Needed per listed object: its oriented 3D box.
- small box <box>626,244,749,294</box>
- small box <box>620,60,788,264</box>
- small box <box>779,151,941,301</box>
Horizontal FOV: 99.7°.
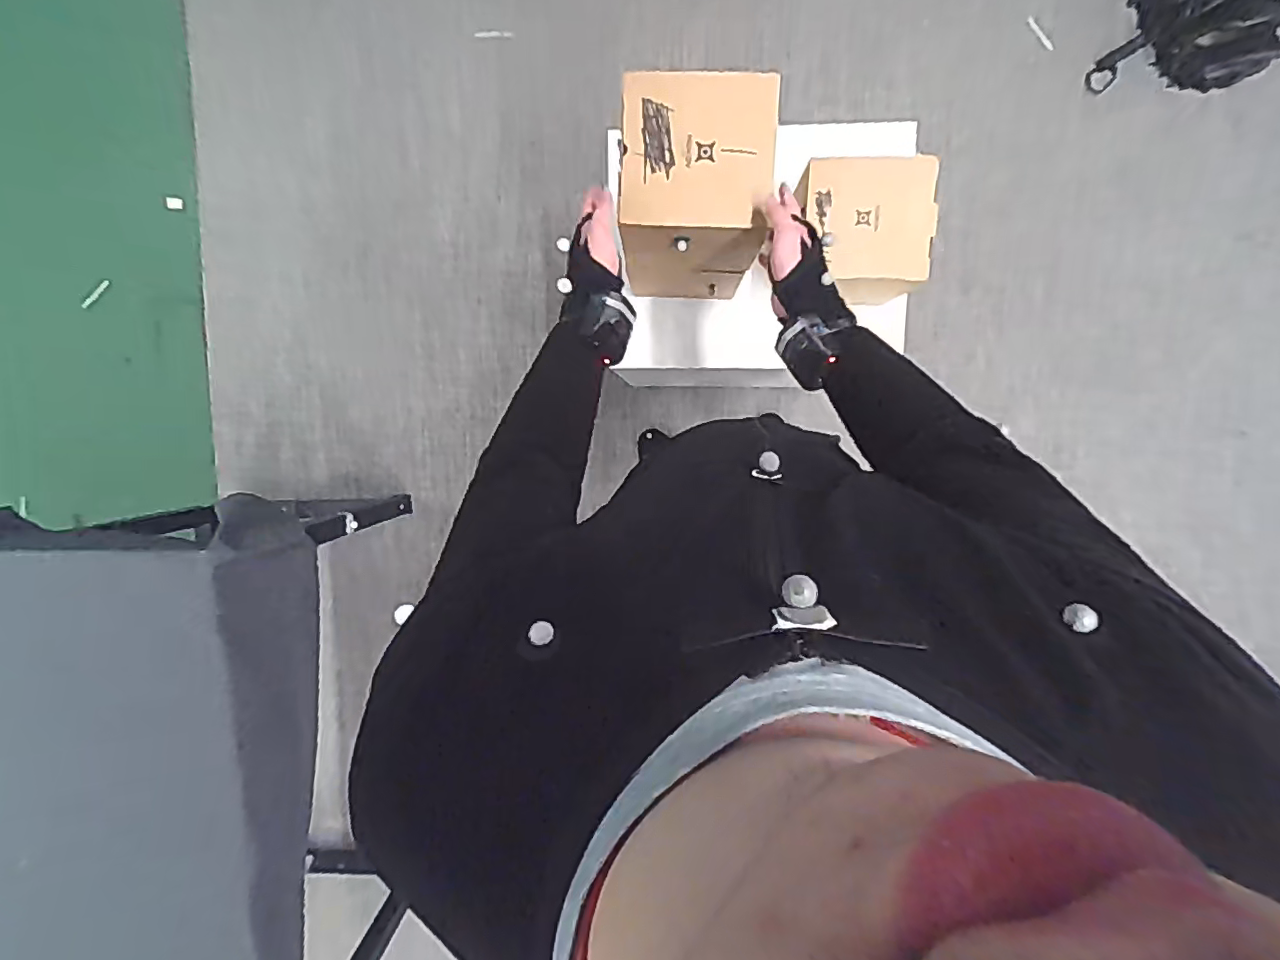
[{"bbox_3d":[0.072,-0.391,0.833,0.179,0.176,0.168,2,96,3],"label":"small box"},{"bbox_3d":[0.071,-0.375,0.669,0.179,0.176,0.168,3,97,1],"label":"small box"},{"bbox_3d":[0.322,-0.375,0.824,0.179,0.176,0.168,3,98,3],"label":"small box"}]
